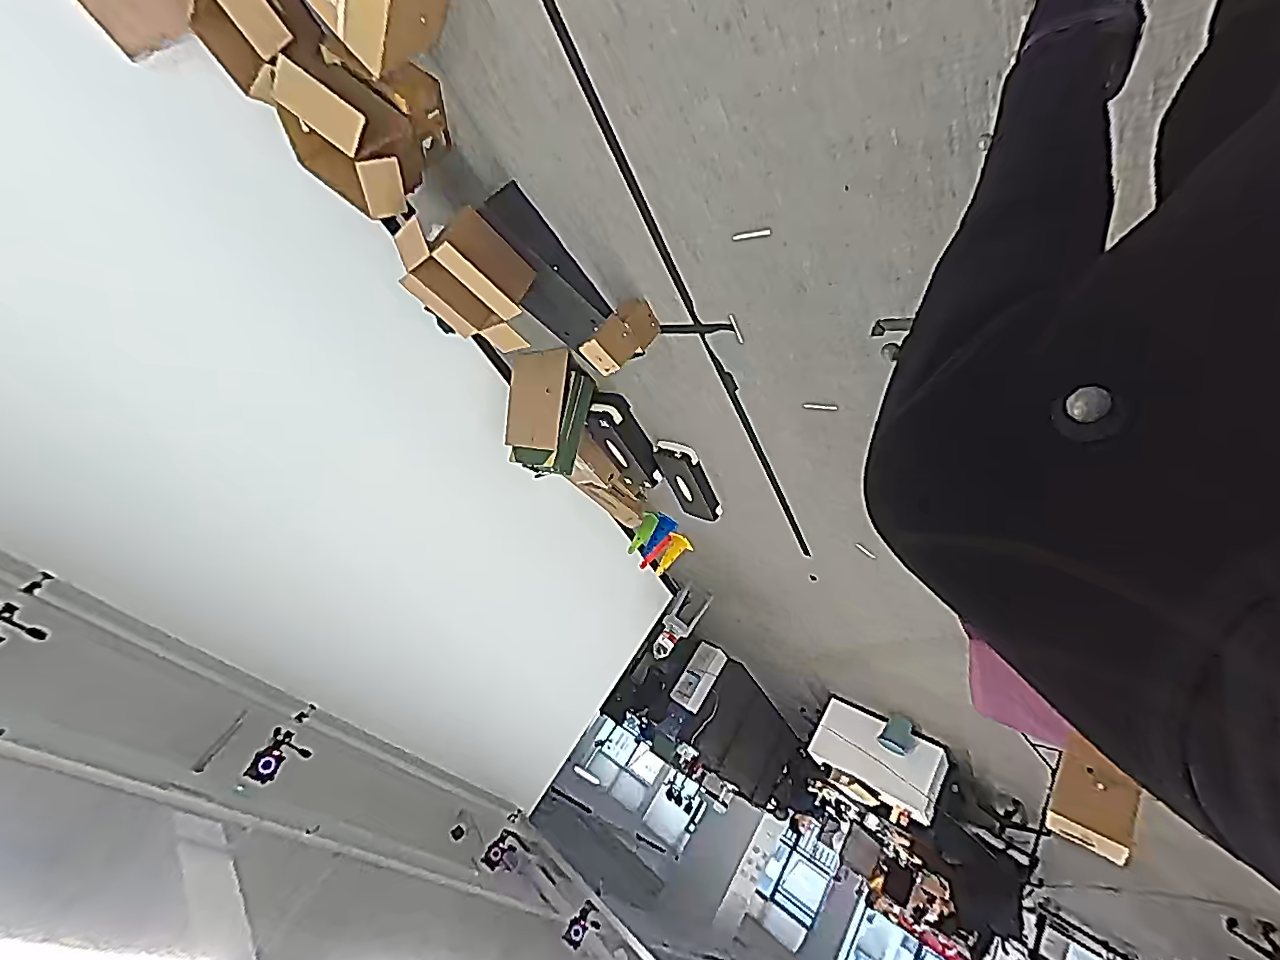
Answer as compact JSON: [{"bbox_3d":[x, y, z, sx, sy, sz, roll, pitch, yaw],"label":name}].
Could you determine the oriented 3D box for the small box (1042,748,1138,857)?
[{"bbox_3d":[1.198,0.855,1.442,0.168,0.176,0.179,14,148,43],"label":"small box"}]

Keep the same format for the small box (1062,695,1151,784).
[{"bbox_3d":[1.286,0.727,1.498,0.168,0.176,0.179,14,149,43],"label":"small box"}]
